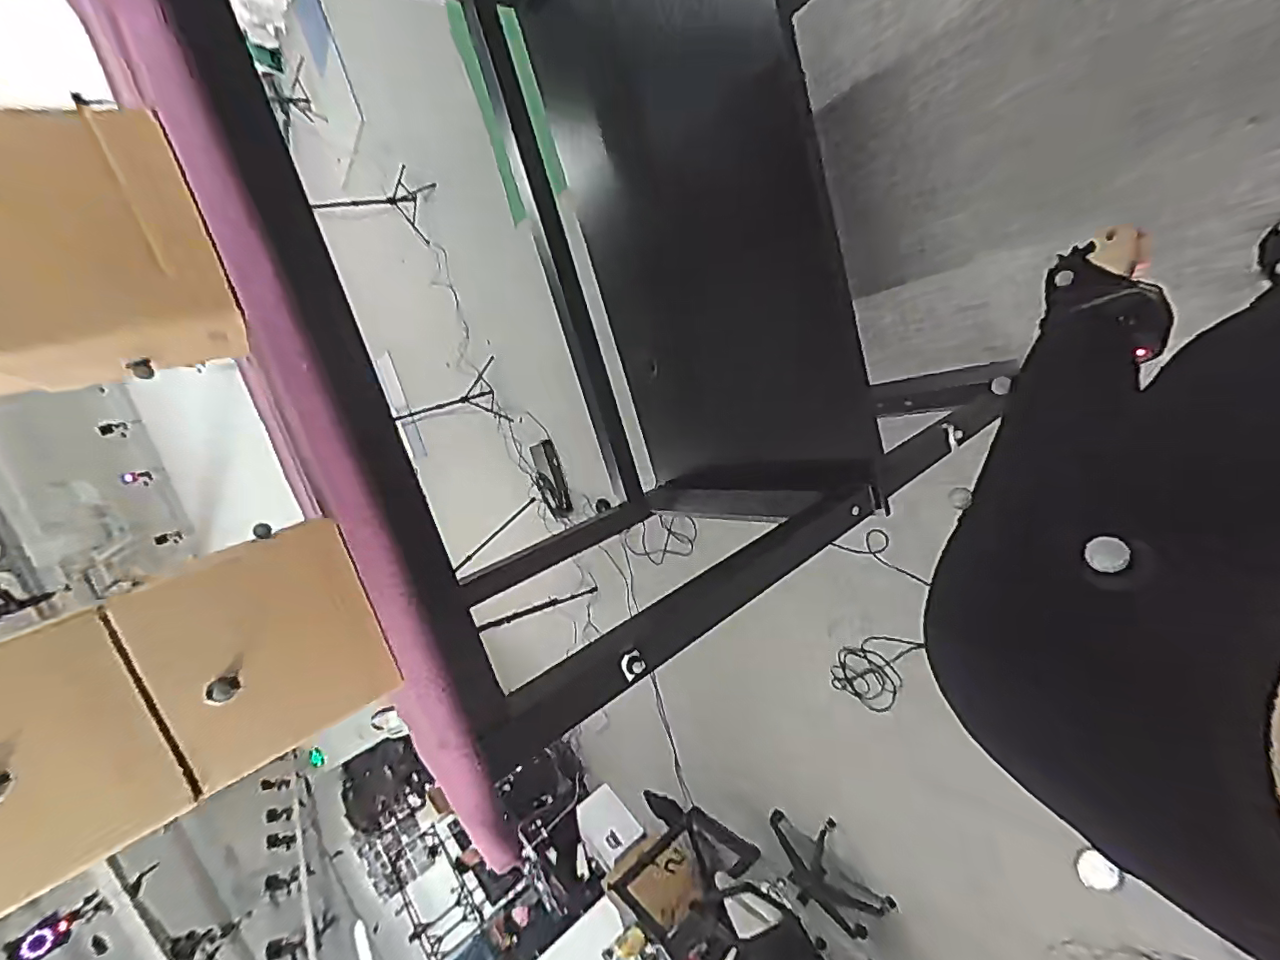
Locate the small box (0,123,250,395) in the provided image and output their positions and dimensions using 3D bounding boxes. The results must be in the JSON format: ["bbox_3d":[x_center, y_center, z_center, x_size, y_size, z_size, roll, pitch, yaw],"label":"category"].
[{"bbox_3d":[-0.475,-0.190,0.484,0.168,0.176,0.179,-1,109,56],"label":"small box"}]

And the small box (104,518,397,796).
[{"bbox_3d":[-0.362,0.151,0.532,0.168,0.176,0.179,-3,107,54],"label":"small box"}]
